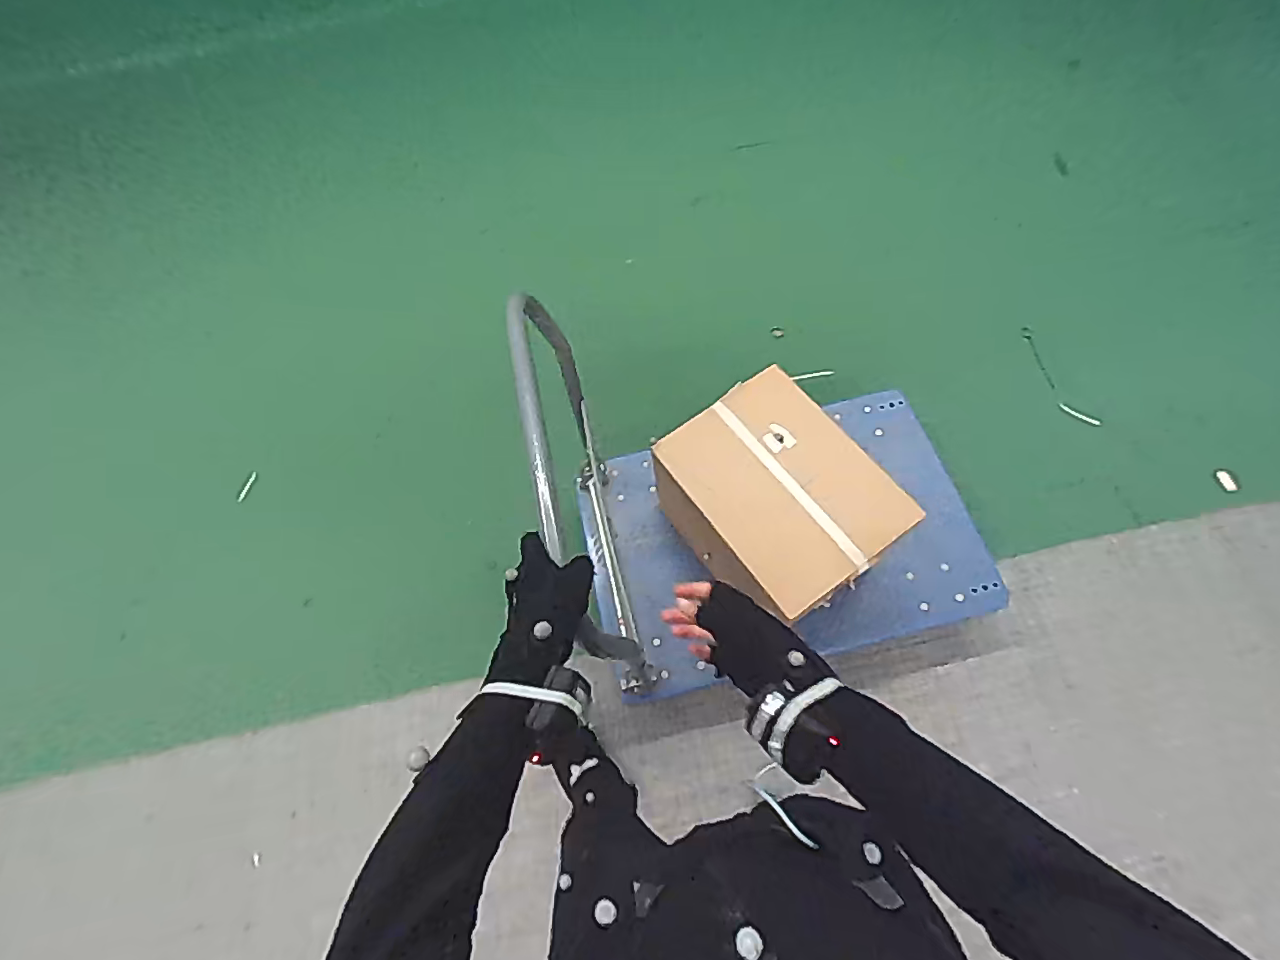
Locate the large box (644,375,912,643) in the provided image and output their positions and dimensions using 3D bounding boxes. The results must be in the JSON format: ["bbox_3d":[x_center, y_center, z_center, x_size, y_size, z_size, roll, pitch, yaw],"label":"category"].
[{"bbox_3d":[0.260,0.071,1.133,0.320,0.320,0.408,-34,66,-11],"label":"large box"}]
